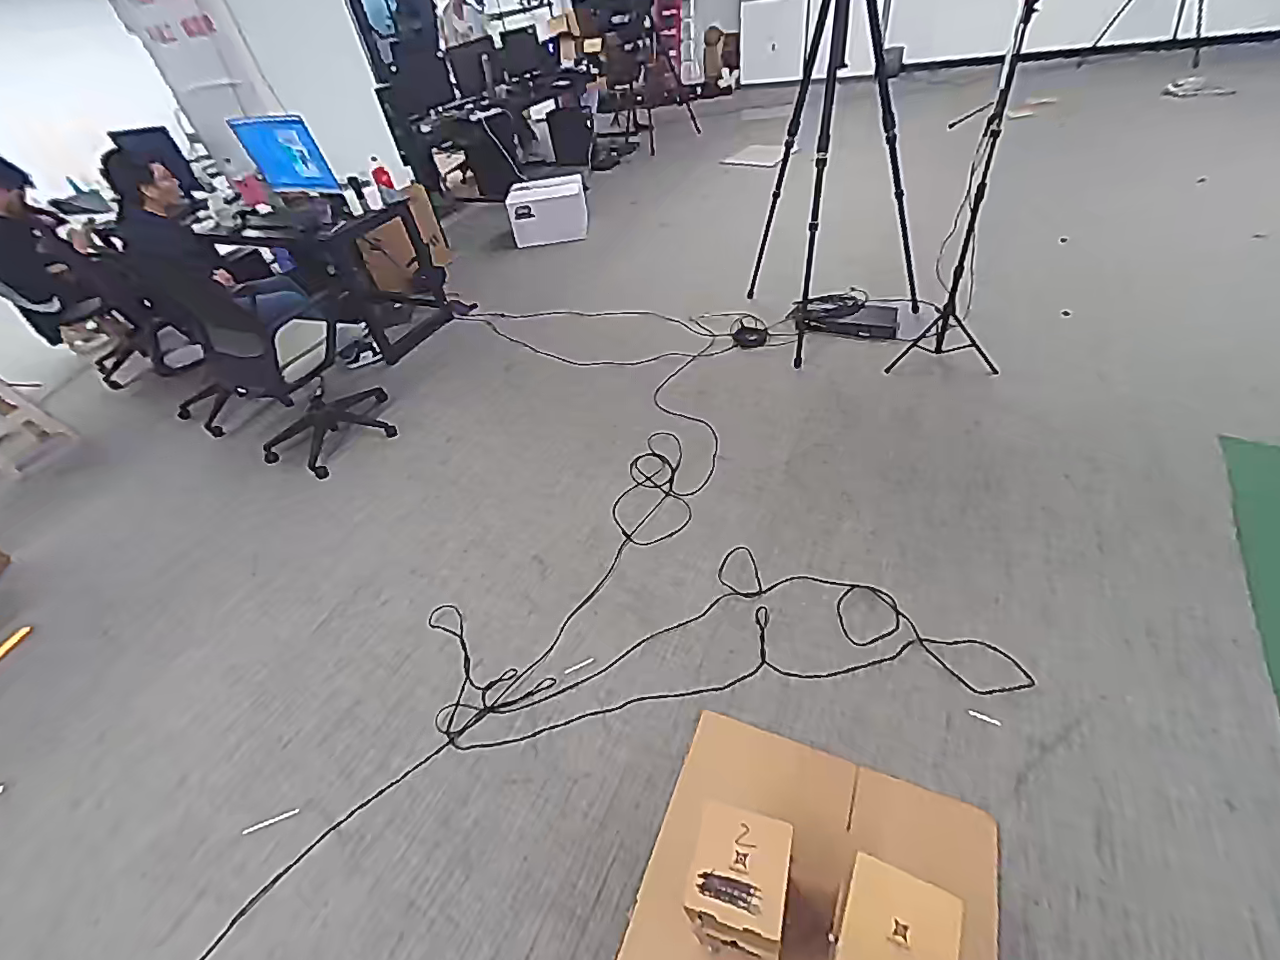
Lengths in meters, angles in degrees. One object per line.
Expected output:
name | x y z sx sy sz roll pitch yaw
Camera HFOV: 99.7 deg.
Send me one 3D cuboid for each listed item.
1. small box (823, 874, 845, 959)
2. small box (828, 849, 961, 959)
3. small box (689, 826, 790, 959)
small box | 0.441 0.893 1.016 0.168 0.176 0.179 10 48 24
small box | 0.421 0.772 0.909 0.168 0.176 0.179 13 49 25
small box | 0.210 0.852 1.104 0.168 0.176 0.179 8 46 20
